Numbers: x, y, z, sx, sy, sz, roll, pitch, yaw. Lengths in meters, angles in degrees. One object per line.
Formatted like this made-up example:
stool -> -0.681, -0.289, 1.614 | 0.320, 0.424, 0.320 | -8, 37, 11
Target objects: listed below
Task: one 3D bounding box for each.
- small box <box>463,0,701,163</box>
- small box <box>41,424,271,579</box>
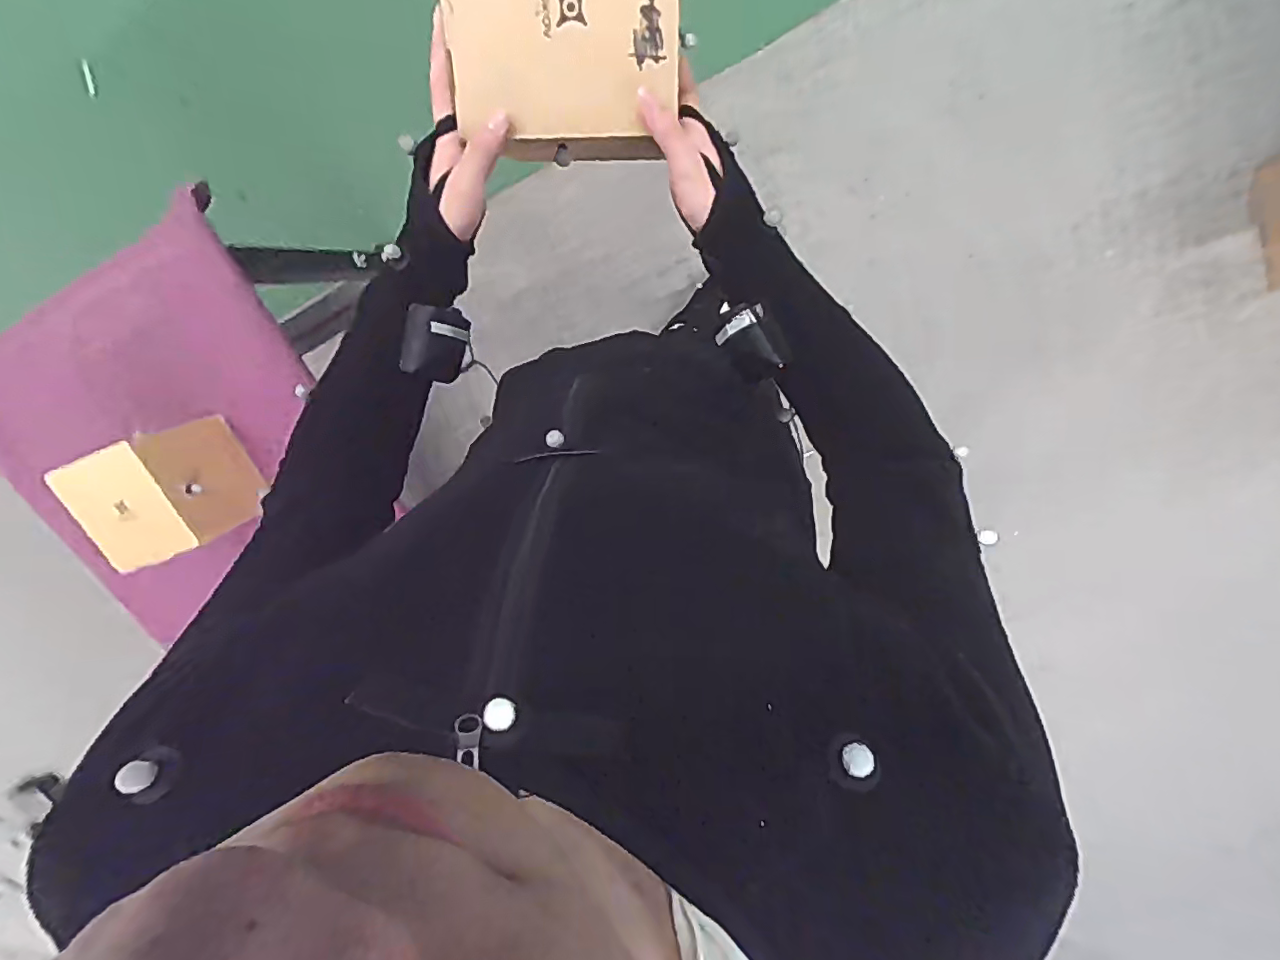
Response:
small box -> -0.039, -0.375, 0.464 | 0.179, 0.176, 0.168 | 1, 115, 2
small box -> -0.751, 0.023, 0.862 | 0.168, 0.176, 0.179 | -19, 110, 10
